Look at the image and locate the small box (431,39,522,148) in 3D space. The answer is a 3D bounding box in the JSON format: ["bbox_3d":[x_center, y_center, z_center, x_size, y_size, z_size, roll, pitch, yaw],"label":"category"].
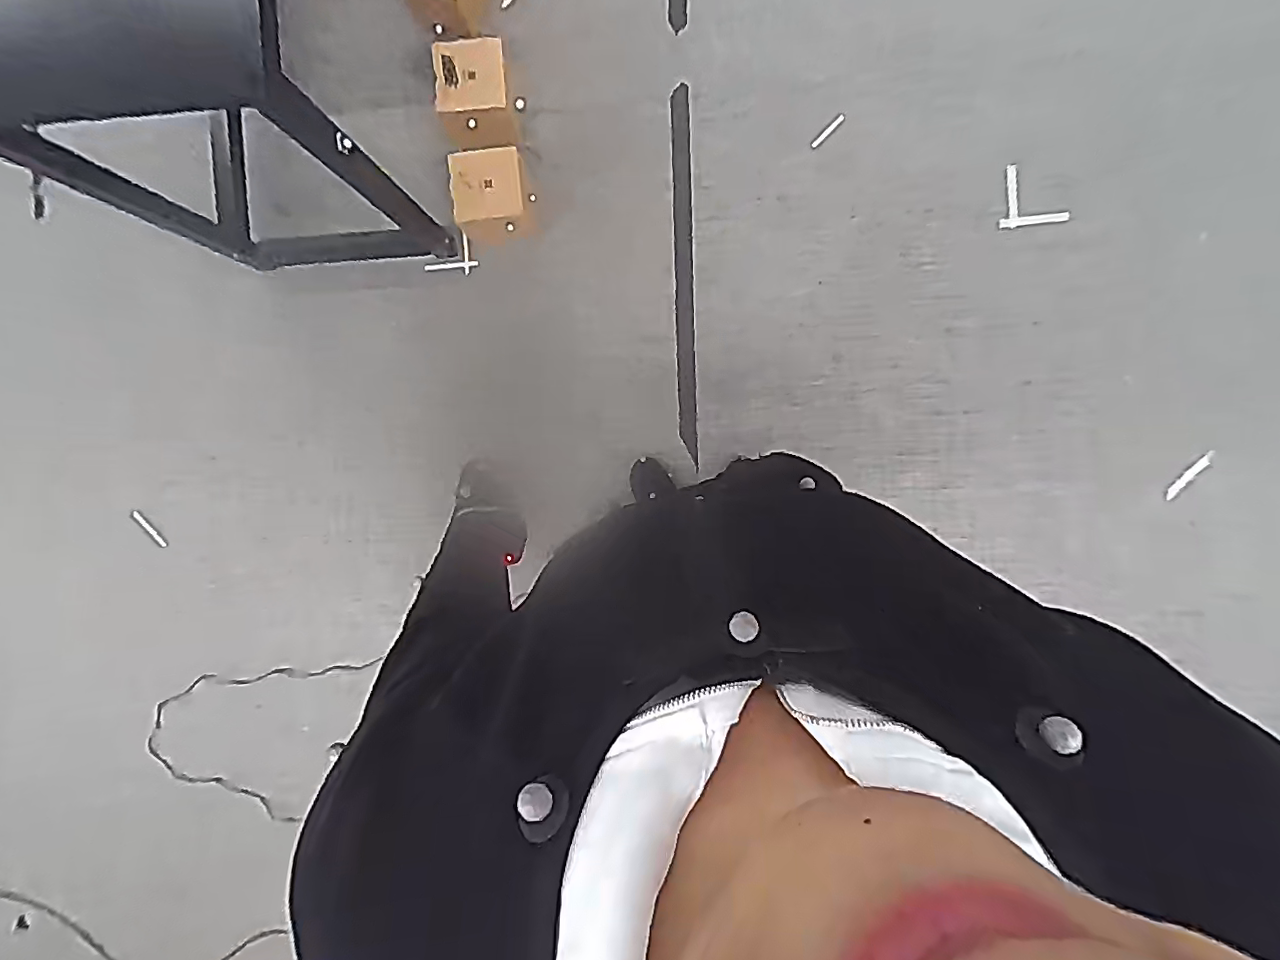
[{"bbox_3d":[-0.415,-0.985,1.394,0.179,0.176,0.168,-3,94,2],"label":"small box"}]

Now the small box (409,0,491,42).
[{"bbox_3d":[-0.494,-1.276,1.381,0.168,0.176,0.179,19,96,3],"label":"small box"}]
